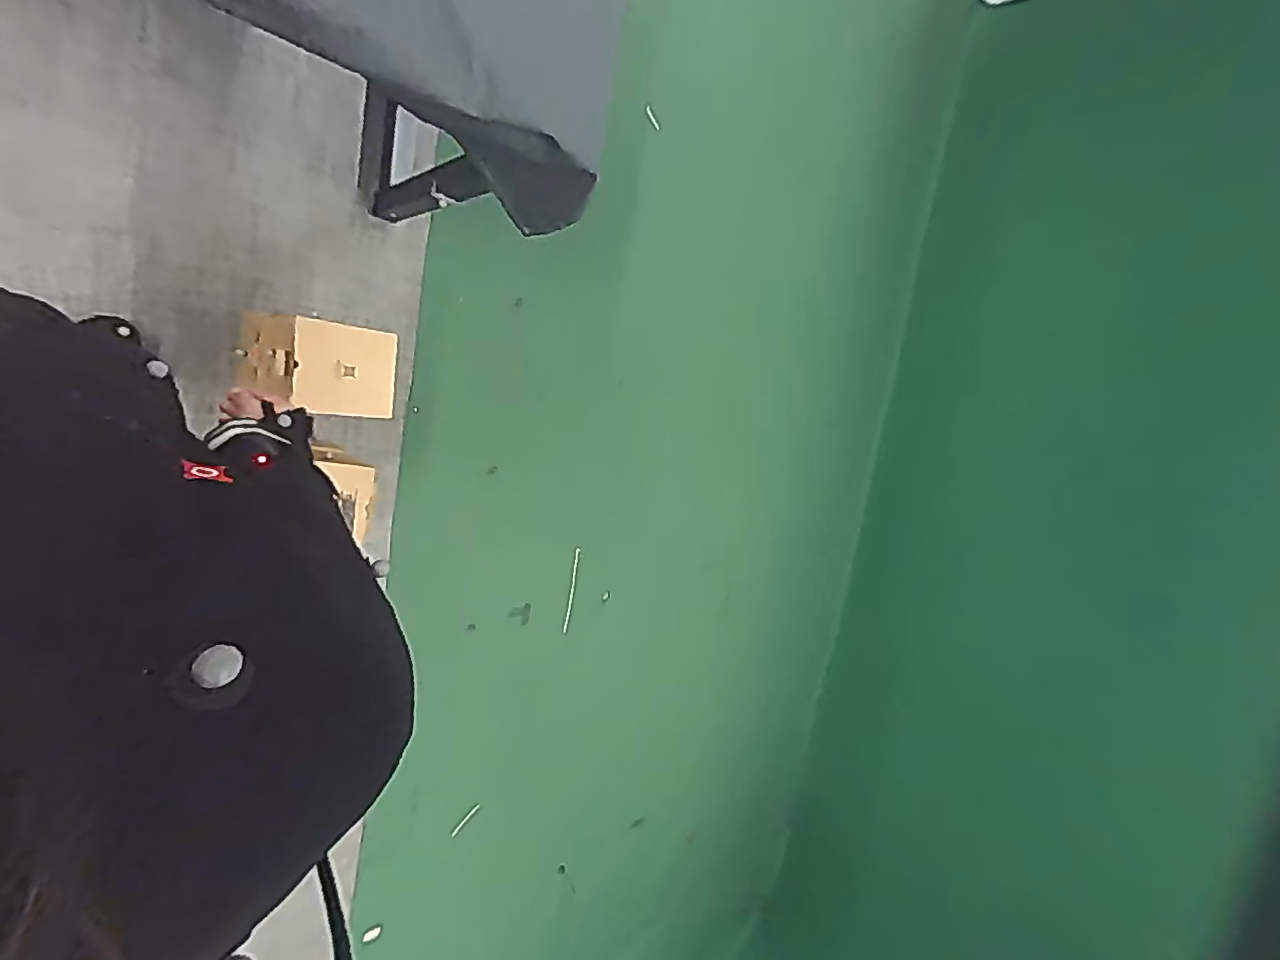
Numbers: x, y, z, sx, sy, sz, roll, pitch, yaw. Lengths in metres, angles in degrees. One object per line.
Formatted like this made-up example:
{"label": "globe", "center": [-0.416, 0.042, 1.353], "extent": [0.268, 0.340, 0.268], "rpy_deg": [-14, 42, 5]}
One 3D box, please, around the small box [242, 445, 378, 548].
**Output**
{"label": "small box", "center": [-0.642, 0.031, 1.050], "extent": [0.179, 0.176, 0.168], "rpy_deg": [8, 94, -46]}

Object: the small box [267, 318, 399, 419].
{"label": "small box", "center": [-0.588, -0.214, 1.035], "extent": [0.179, 0.176, 0.168], "rpy_deg": [-1, 102, -46]}

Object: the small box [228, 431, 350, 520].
{"label": "small box", "center": [-0.756, -0.007, 1.163], "extent": [0.179, 0.176, 0.168], "rpy_deg": [8, 94, -45]}
